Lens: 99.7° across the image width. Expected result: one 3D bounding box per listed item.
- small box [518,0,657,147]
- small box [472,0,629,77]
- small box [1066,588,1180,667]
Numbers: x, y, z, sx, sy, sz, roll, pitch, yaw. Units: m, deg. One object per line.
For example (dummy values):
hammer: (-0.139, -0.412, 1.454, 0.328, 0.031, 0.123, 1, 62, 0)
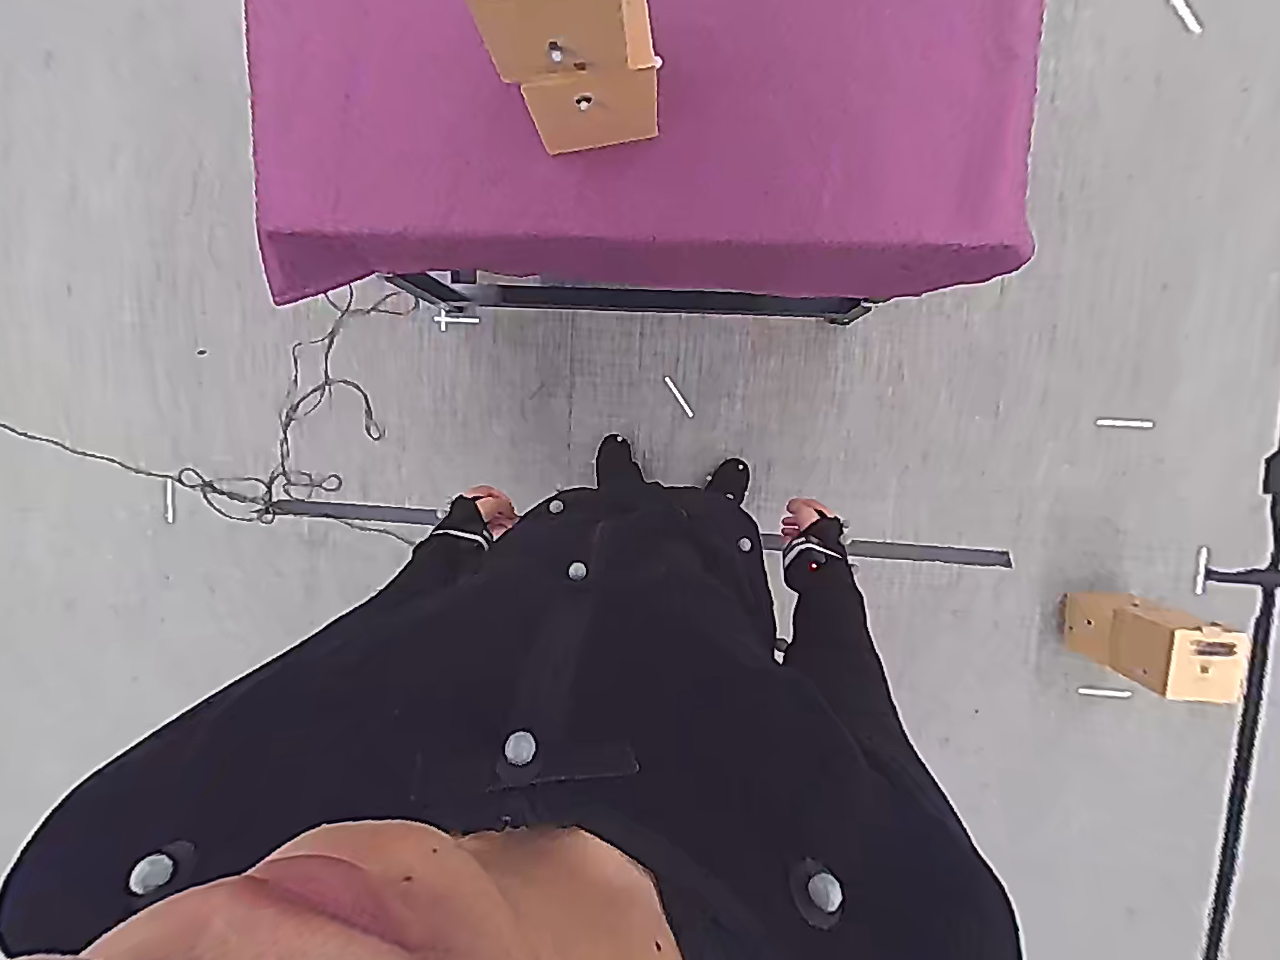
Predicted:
small box: (-0.073, -0.595, 0.750, 0.179, 0.176, 0.168, -8, 95, 3)
small box: (-0.102, -0.587, 0.587, 0.168, 0.176, 0.179, -3, 95, 4)
small box: (1.337, 0.407, 1.510, 0.179, 0.176, 0.168, -1, 96, 3)
